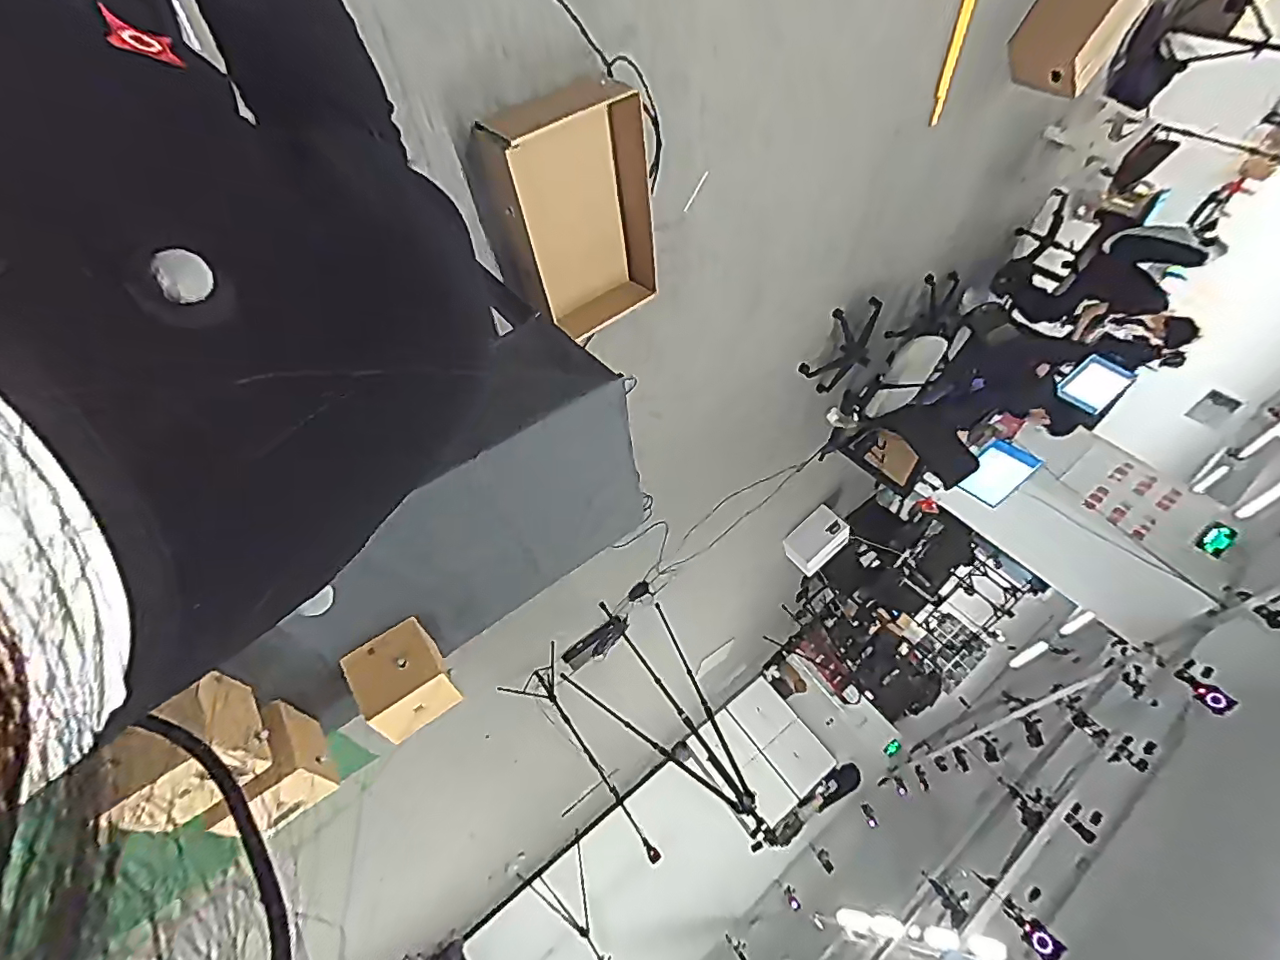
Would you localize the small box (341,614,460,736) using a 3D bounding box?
[{"bbox_3d":[-0.534,0.429,1.209,0.168,0.176,0.179,-31,148,-22],"label":"small box"}]

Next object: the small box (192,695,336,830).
[{"bbox_3d":[-0.763,0.572,1.104,0.168,0.176,0.179,-31,147,-22],"label":"small box"}]
